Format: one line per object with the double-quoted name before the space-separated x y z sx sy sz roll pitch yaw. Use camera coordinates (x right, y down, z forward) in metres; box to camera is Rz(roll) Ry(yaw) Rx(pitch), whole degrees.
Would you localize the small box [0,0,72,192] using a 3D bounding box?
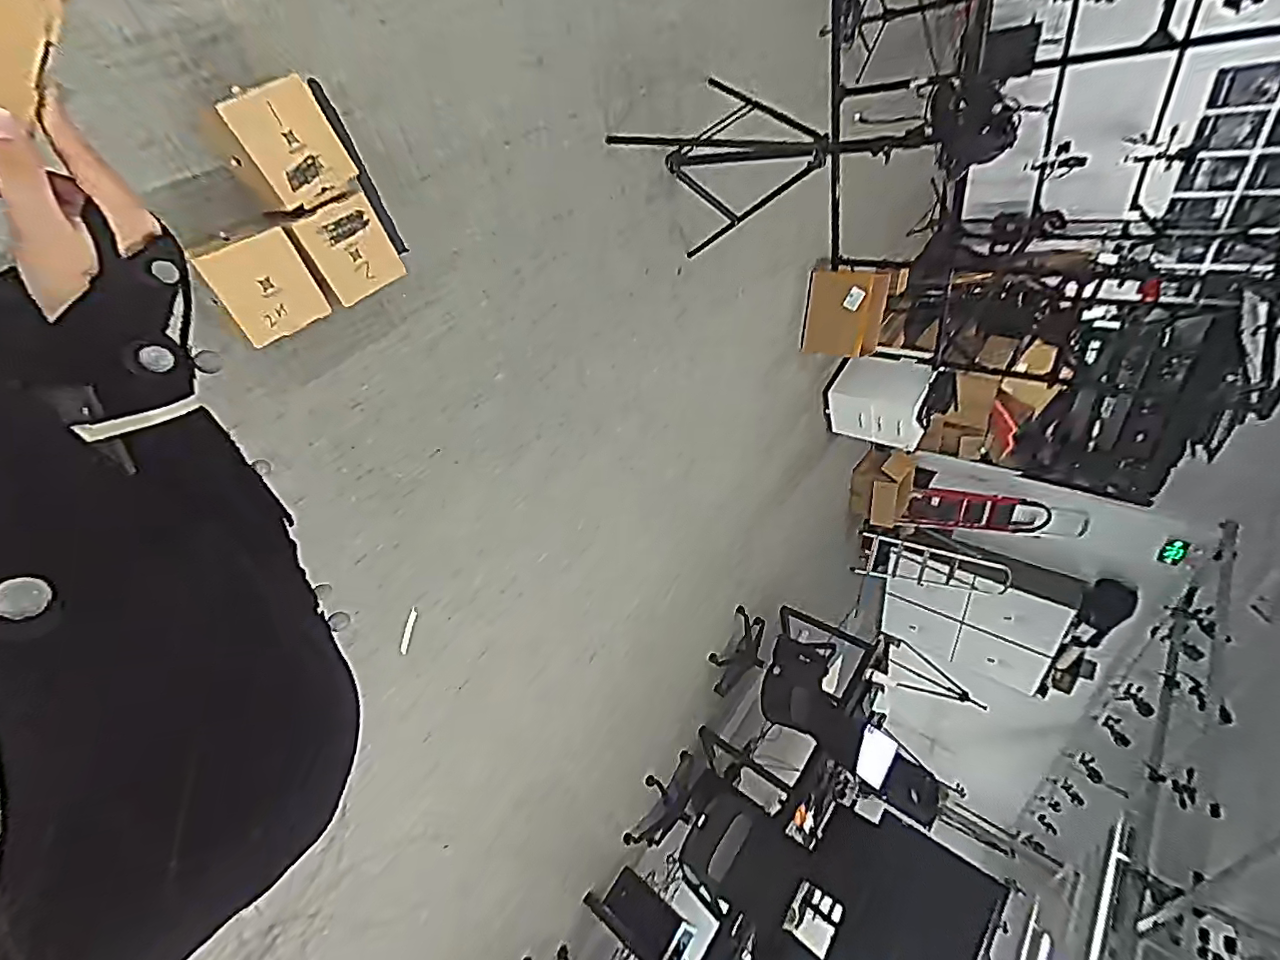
"small box" -0.422 -0.274 0.272 0.179 0.176 0.168 12 89 -52
